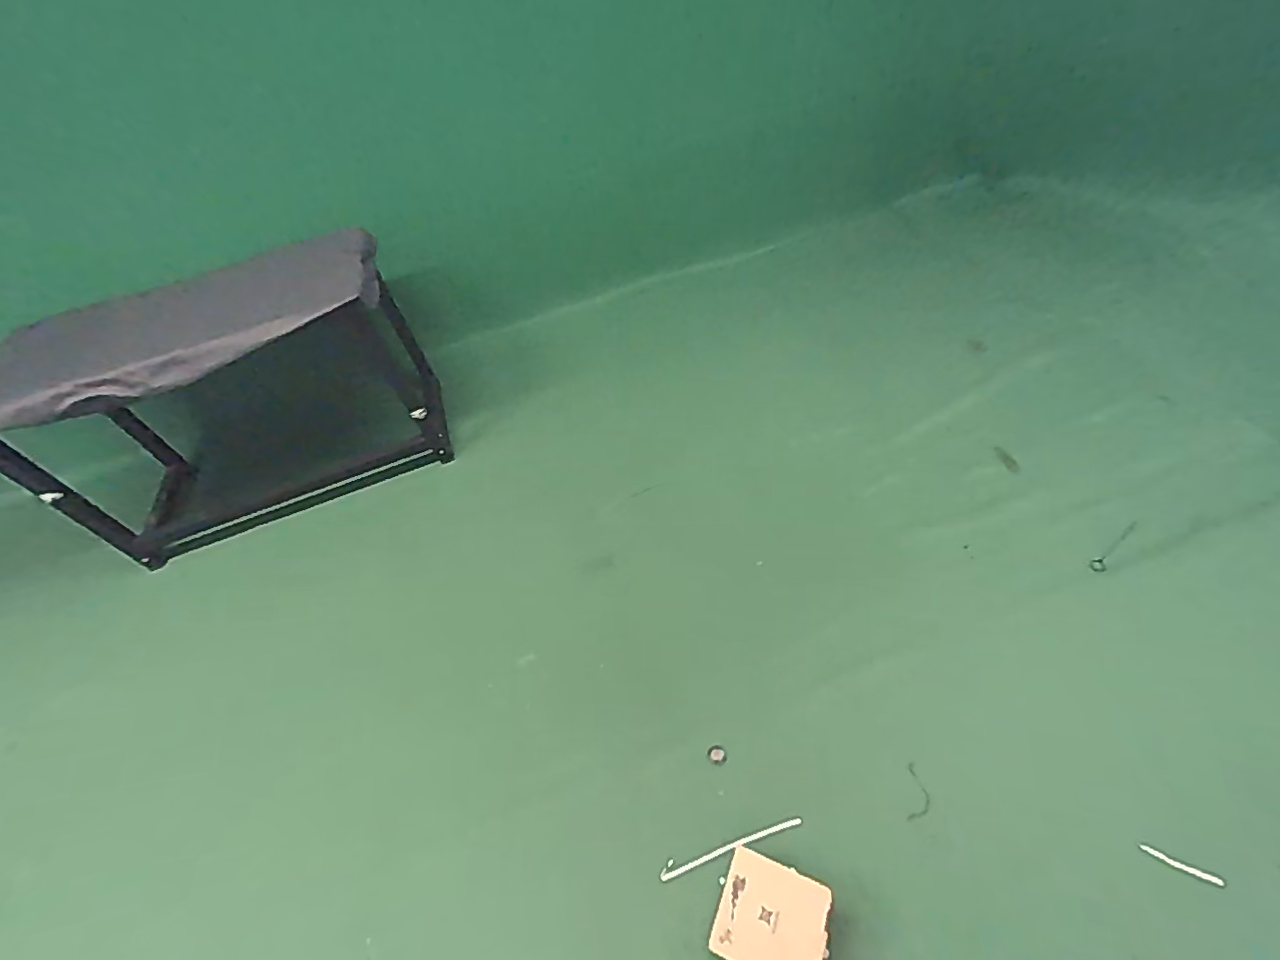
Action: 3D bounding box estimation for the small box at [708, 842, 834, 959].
[{"bbox_3d":[0.240,0.801,0.986,0.179,0.176,0.168,14,52,24],"label":"small box"}]
